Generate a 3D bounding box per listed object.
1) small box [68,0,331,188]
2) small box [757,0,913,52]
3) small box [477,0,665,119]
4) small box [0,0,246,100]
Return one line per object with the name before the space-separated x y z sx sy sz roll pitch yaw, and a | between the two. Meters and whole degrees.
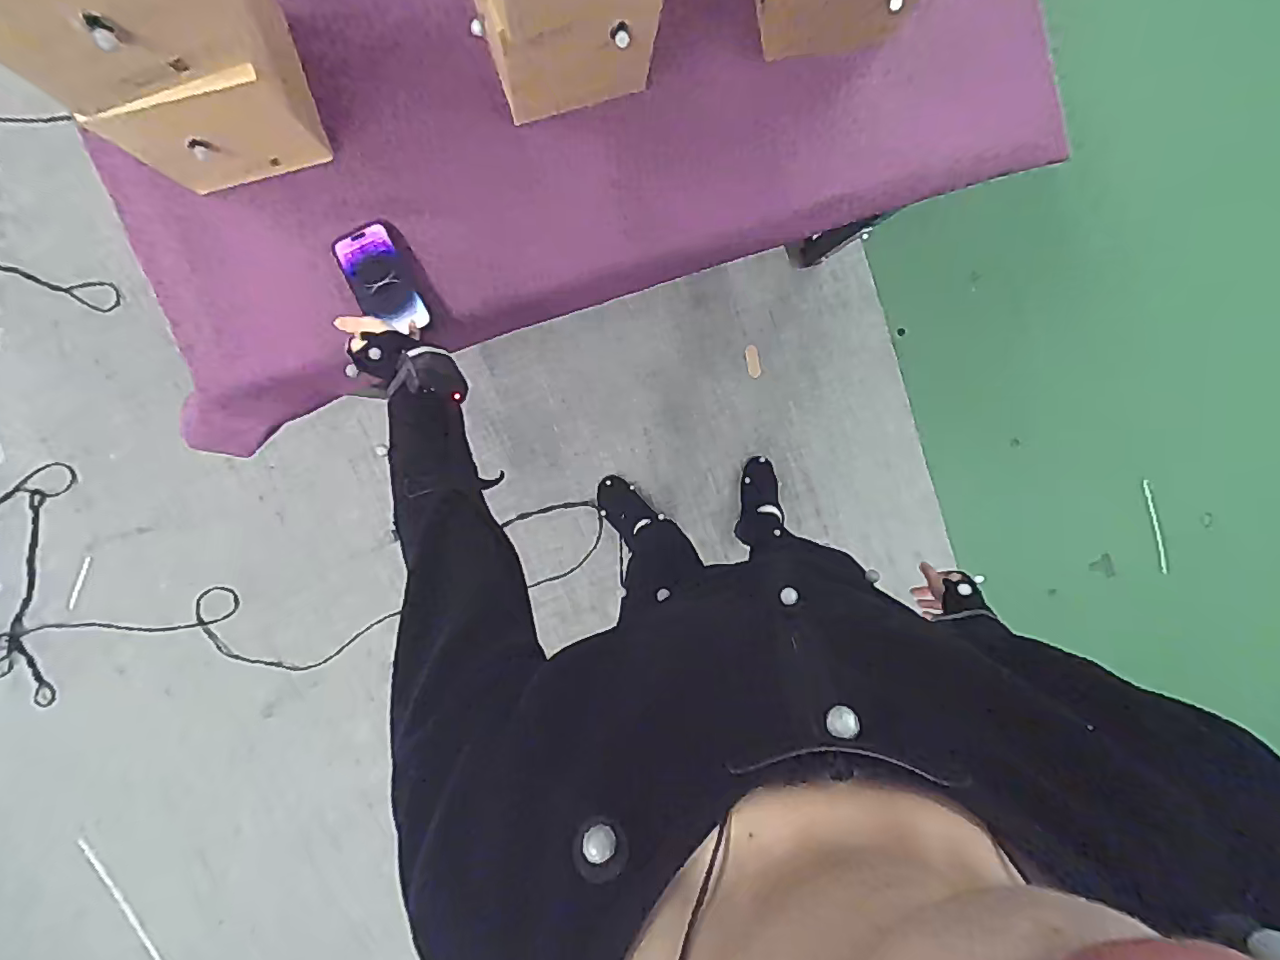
small box | -0.462 -0.434 0.565 0.168 0.176 0.179 -18 97 -4
small box | 0.239 -0.635 0.614 0.179 0.176 0.168 -12 96 -4
small box | -0.086 -0.540 0.590 0.179 0.176 0.168 -19 97 -3
small box | -0.449 -0.426 0.401 0.168 0.176 0.179 -23 98 -4
